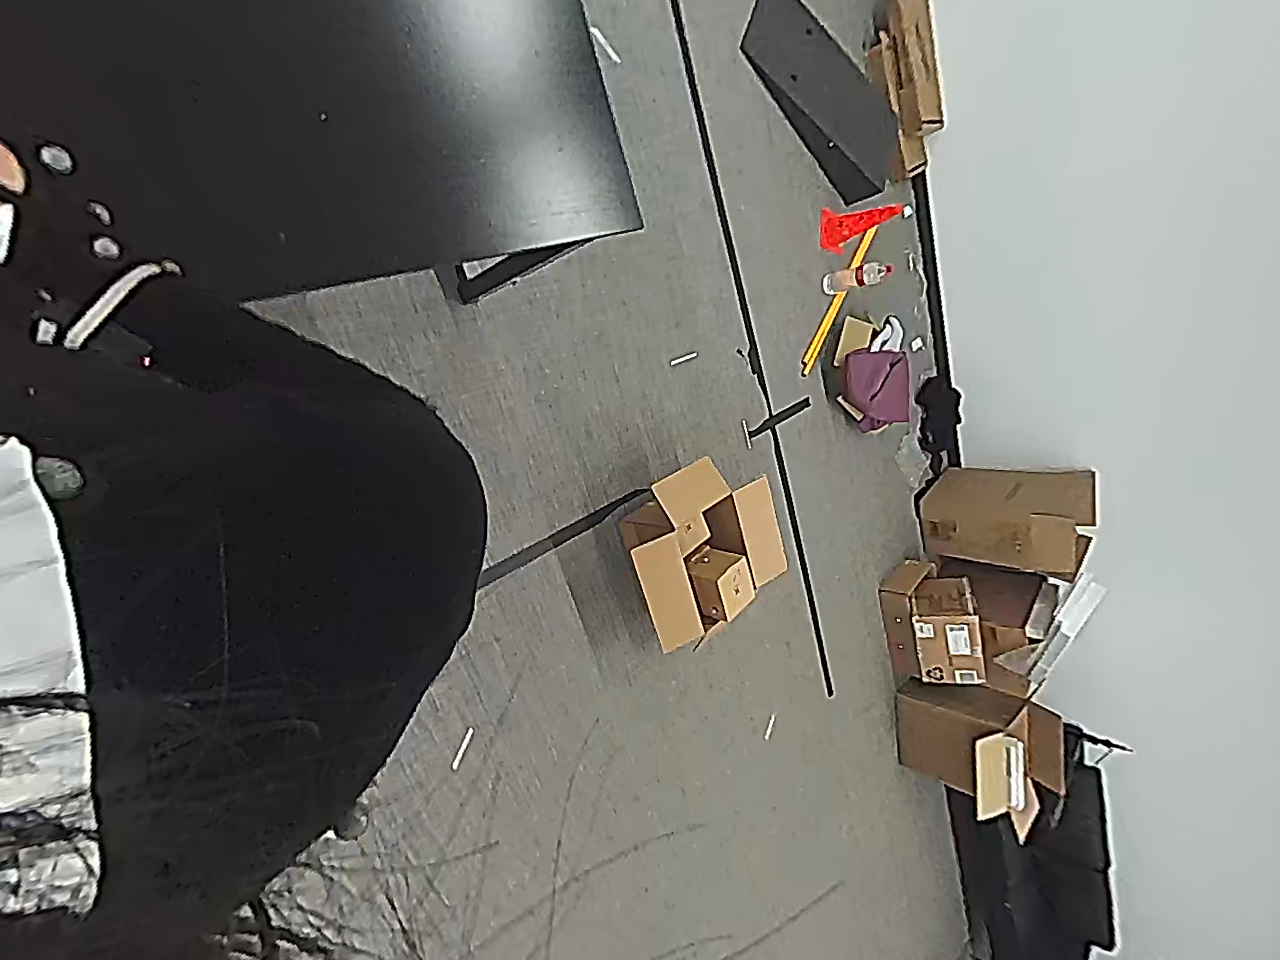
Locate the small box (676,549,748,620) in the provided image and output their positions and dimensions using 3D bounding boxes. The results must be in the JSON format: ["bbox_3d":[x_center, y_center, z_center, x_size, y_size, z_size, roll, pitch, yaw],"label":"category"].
[{"bbox_3d":[0.256,0.366,1.925,0.168,0.176,0.179,-32,114,-36],"label":"small box"}]
